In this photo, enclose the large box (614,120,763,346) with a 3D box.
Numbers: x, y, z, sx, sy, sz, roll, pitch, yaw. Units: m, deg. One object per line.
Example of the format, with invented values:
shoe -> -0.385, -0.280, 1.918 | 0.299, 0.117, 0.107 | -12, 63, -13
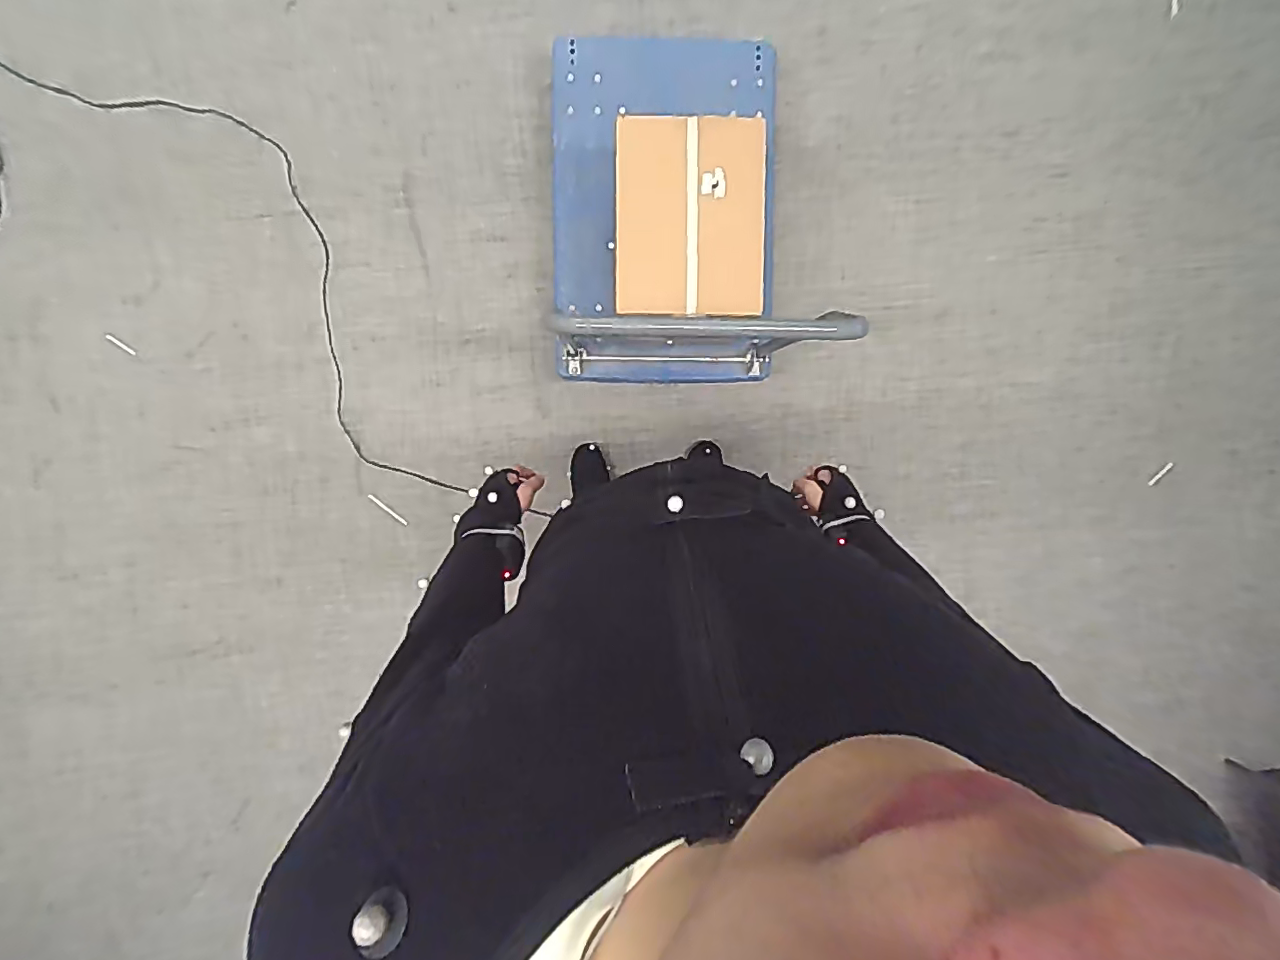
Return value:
large box -> 0.098, -0.549, 1.277 | 0.320, 0.320, 0.408 | 0, 92, -3
